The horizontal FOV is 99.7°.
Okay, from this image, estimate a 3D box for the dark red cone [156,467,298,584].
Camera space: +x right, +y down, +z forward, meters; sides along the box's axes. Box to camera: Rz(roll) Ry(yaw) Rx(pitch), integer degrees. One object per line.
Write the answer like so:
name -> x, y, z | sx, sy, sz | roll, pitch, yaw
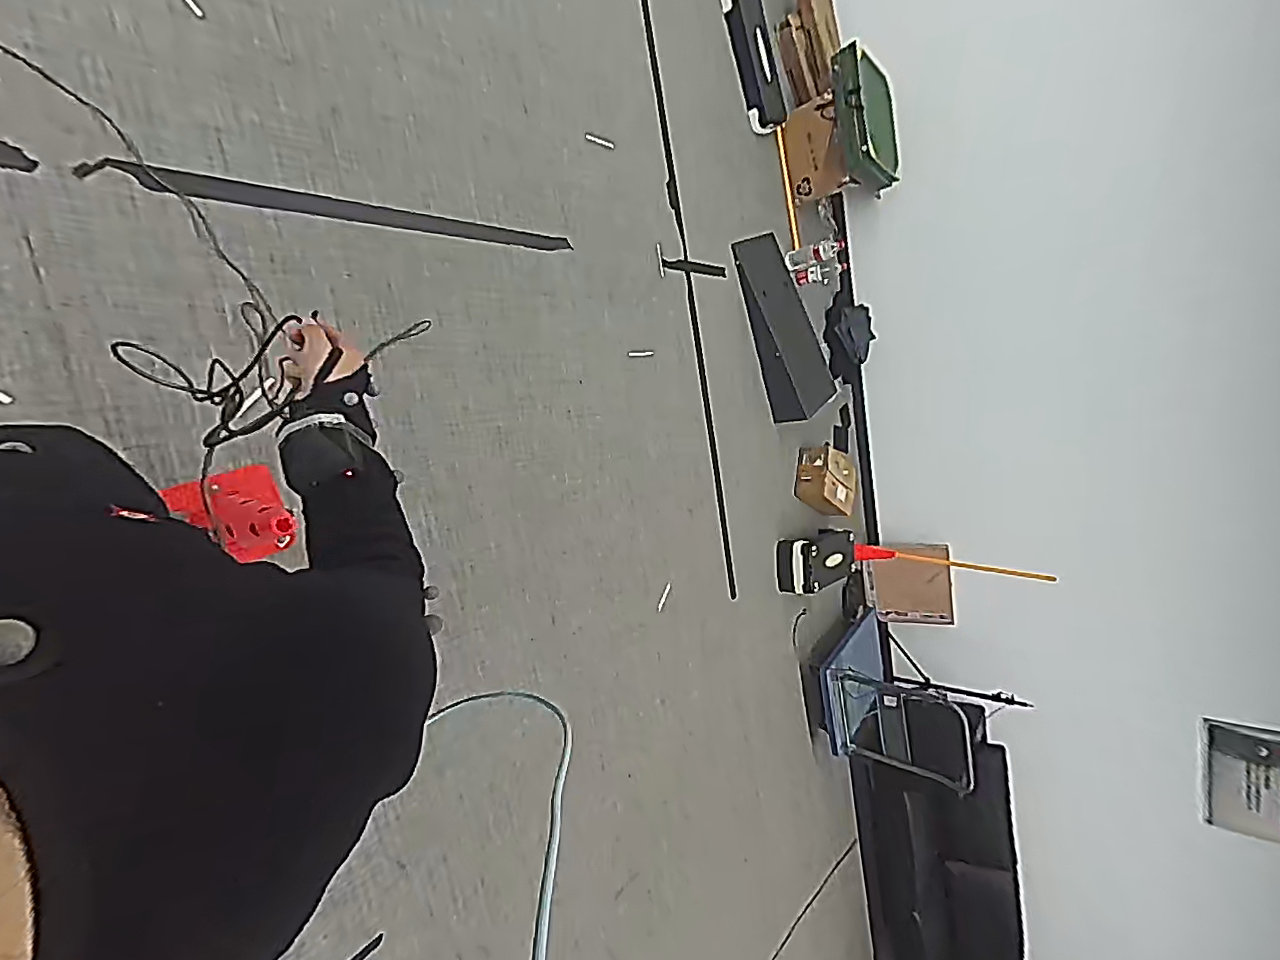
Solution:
dark red cone -> -0.723, 0.085, 1.012 | 0.202, 0.394, 0.201 | -29, 109, -46
